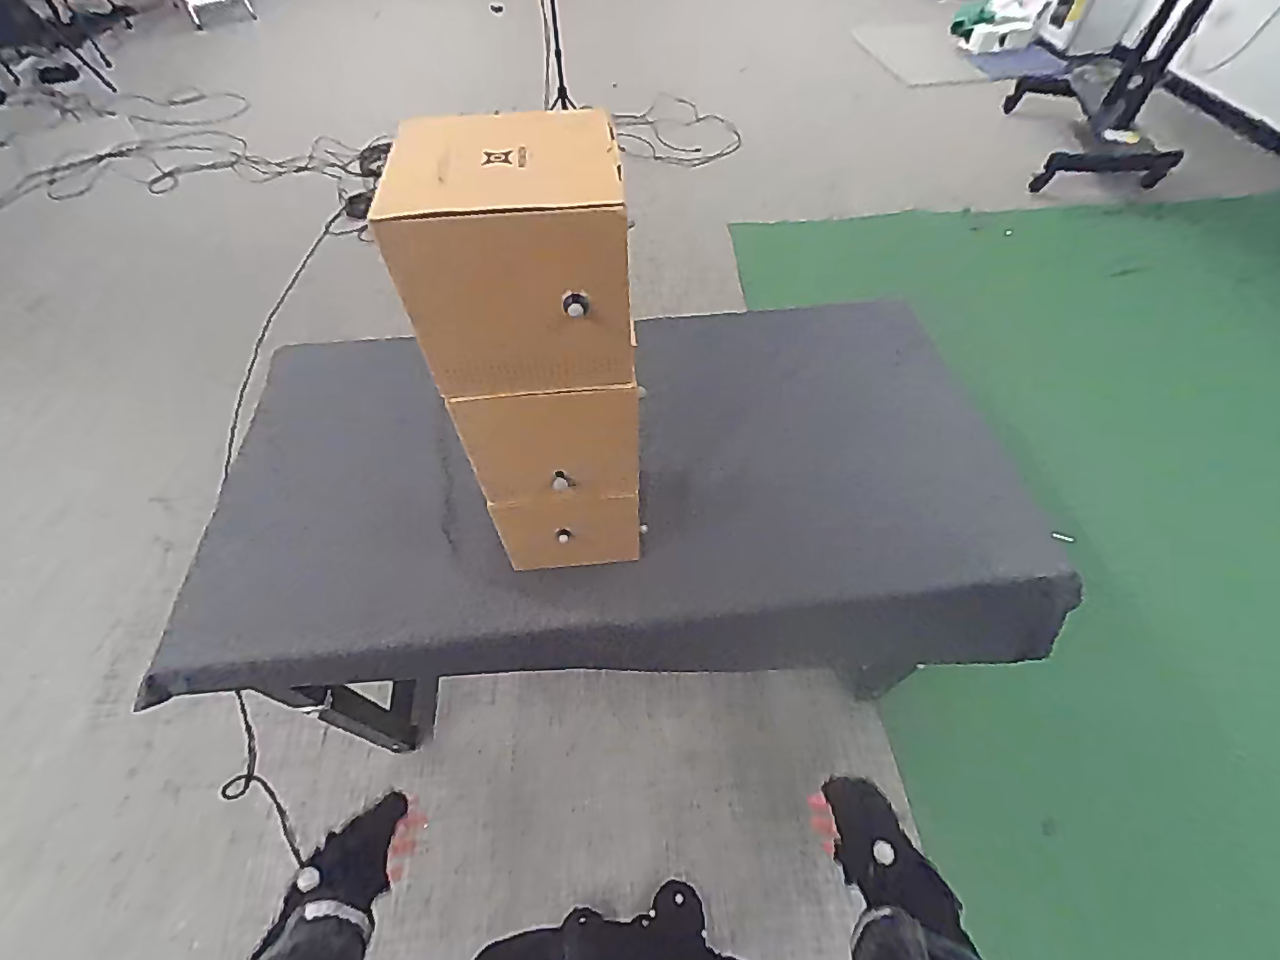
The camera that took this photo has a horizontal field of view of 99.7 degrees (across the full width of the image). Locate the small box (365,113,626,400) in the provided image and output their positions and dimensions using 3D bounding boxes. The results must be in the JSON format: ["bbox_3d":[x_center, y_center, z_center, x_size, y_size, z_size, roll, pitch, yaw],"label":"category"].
[{"bbox_3d":[-0.105,-0.190,0.474,0.179,0.176,0.168,-6,54,-3],"label":"small box"}]

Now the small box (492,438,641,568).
[{"bbox_3d":[-0.097,0.004,0.736,0.179,0.176,0.168,-6,55,-6],"label":"small box"}]

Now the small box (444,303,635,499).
[{"bbox_3d":[-0.100,-0.093,0.605,0.179,0.176,0.168,-4,55,-3],"label":"small box"}]
